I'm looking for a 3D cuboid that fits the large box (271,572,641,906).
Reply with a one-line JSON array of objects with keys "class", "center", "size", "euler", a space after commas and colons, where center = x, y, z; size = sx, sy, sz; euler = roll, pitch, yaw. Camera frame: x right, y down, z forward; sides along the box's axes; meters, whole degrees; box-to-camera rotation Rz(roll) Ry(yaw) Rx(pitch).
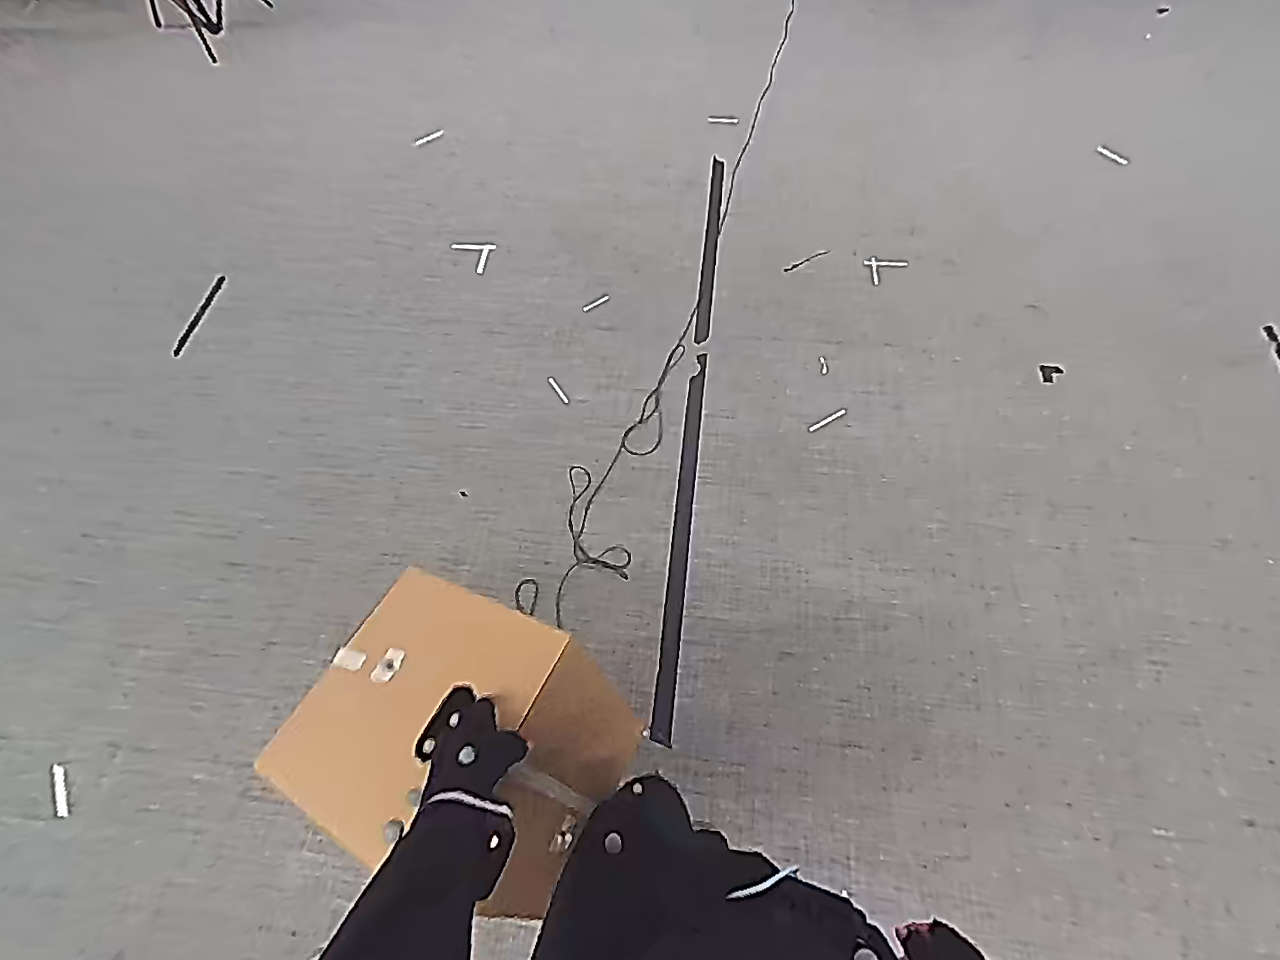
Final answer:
[{"class": "large box", "center": [-0.240, 0.404, 0.844], "size": [0.320, 0.408, 0.320], "euler": [17, 58, 27]}]
